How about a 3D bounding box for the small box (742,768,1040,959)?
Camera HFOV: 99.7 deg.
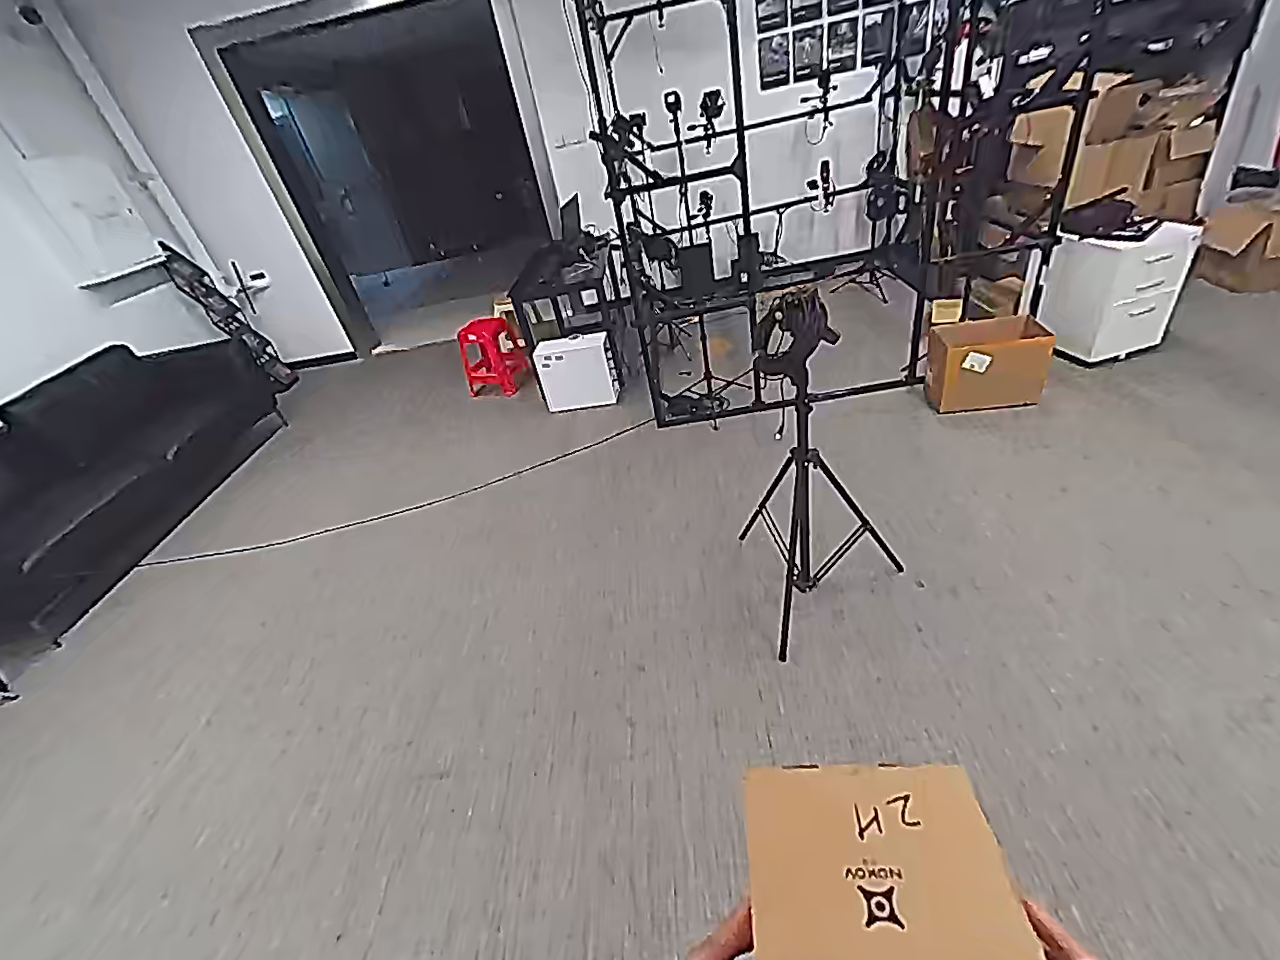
[{"bbox_3d":[0.167,0.337,0.384,0.168,0.176,0.179,-6,28,10],"label":"small box"}]
